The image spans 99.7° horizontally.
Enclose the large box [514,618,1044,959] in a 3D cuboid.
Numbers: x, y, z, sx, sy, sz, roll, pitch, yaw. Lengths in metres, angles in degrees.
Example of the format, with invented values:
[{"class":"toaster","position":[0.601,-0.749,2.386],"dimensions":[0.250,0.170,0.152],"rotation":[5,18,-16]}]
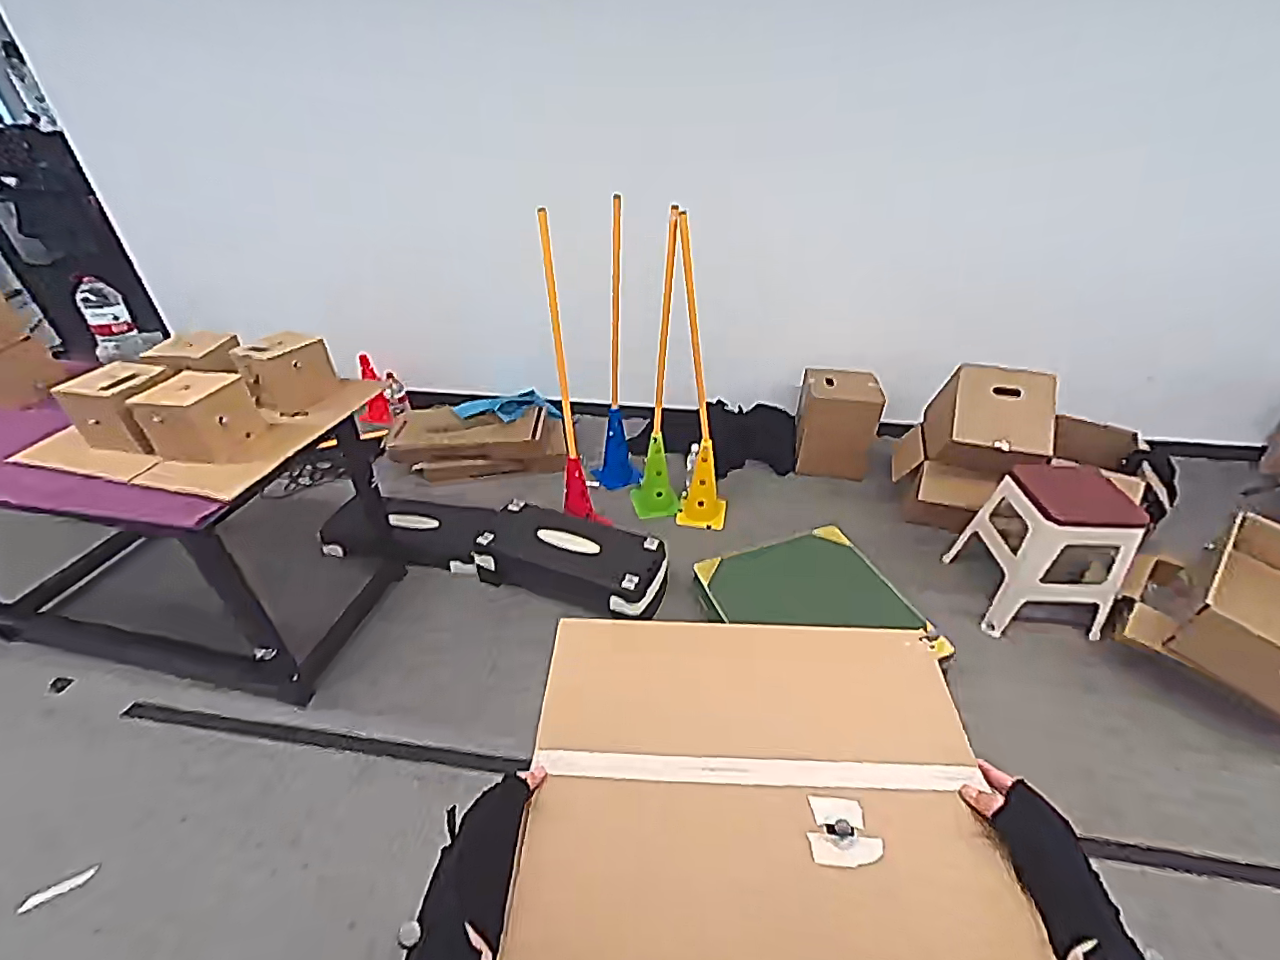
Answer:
[{"class":"large box","position":[0.108,0.377,0.605],"dimensions":[0.408,0.320,0.320],"rotation":[2,42,3]}]
